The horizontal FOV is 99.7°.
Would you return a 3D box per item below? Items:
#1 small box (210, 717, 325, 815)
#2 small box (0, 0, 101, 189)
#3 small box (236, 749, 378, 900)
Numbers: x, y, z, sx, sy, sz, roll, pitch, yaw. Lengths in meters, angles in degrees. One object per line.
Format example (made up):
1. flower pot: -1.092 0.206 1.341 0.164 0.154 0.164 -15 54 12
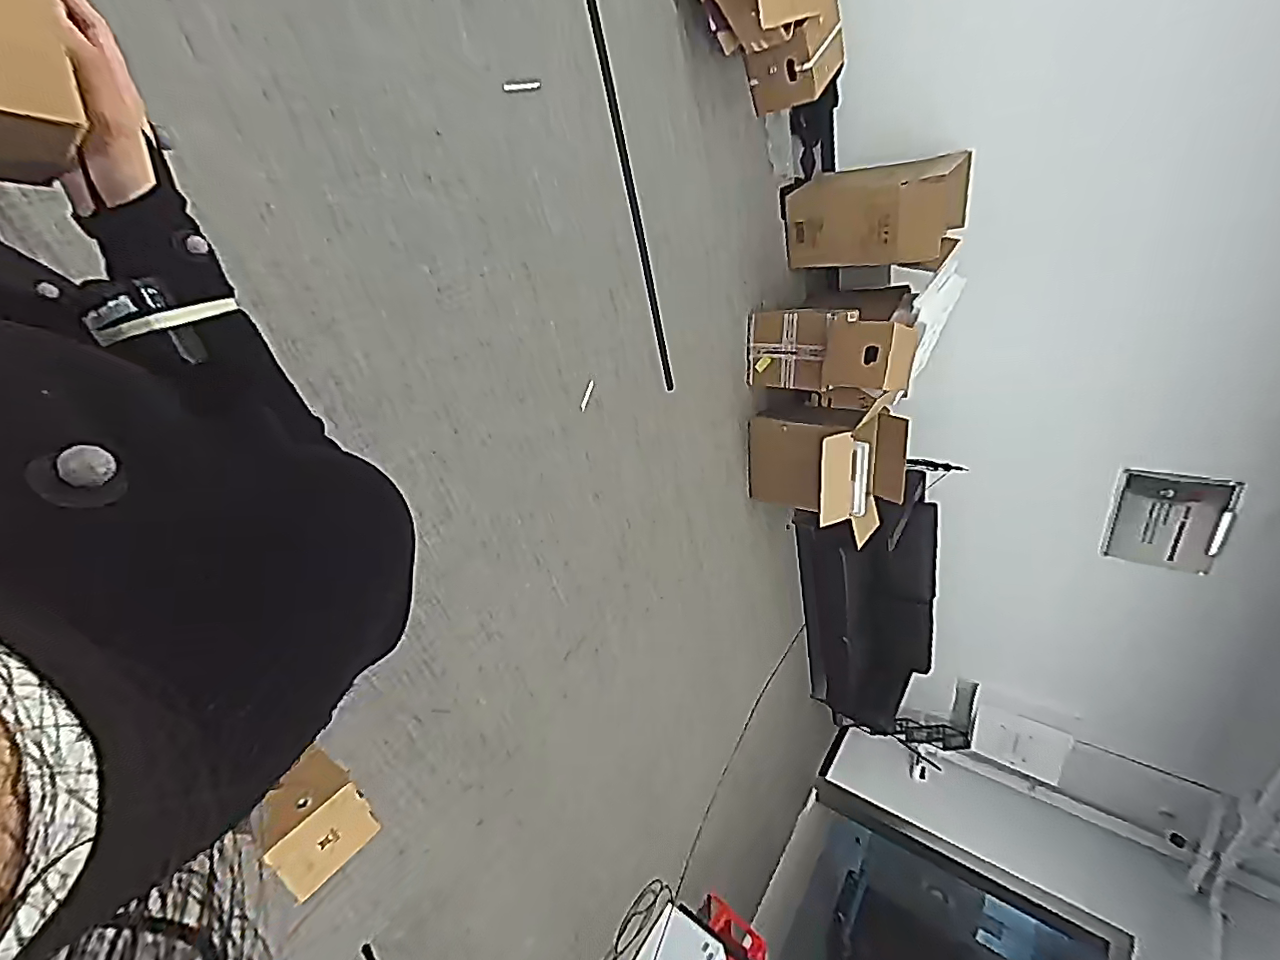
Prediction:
1. small box: -0.831 0.685 1.238 0.179 0.176 0.168 -34 124 -43
2. small box: -0.398 -0.257 0.249 0.168 0.176 0.179 -20 114 -49
3. small box: -0.702 0.716 1.145 0.179 0.176 0.168 -37 125 -41
